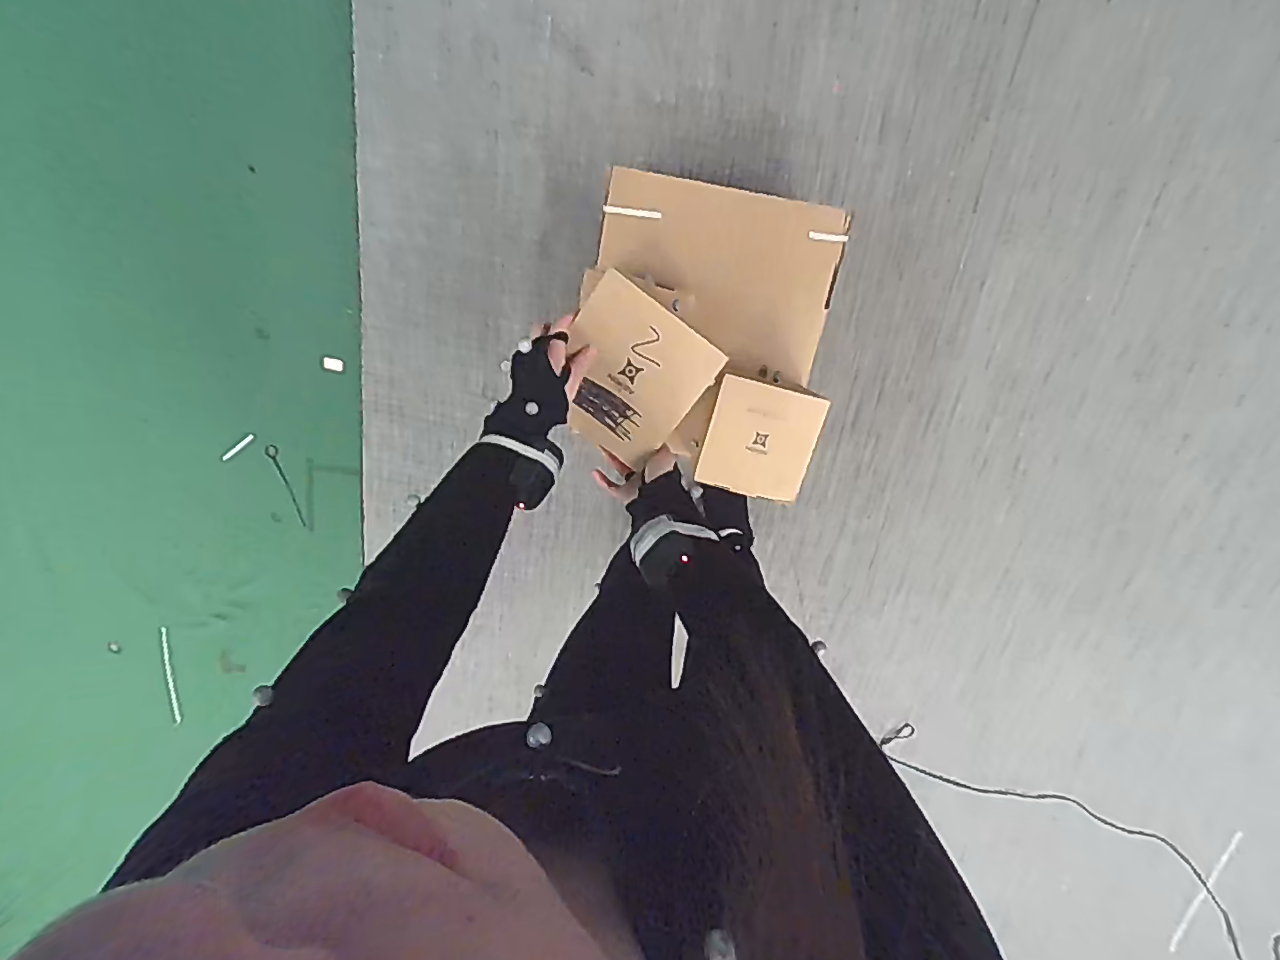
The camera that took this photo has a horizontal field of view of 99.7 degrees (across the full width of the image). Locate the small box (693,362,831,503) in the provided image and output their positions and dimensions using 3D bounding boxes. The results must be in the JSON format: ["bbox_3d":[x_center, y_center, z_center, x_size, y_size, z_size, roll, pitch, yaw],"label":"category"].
[{"bbox_3d":[0.191,-0.087,0.899,0.168,0.176,0.179,15,107,-1],"label":"small box"}]

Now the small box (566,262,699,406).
[{"bbox_3d":[-0.008,-0.234,0.874,0.168,0.176,0.179,15,107,2],"label":"small box"}]
